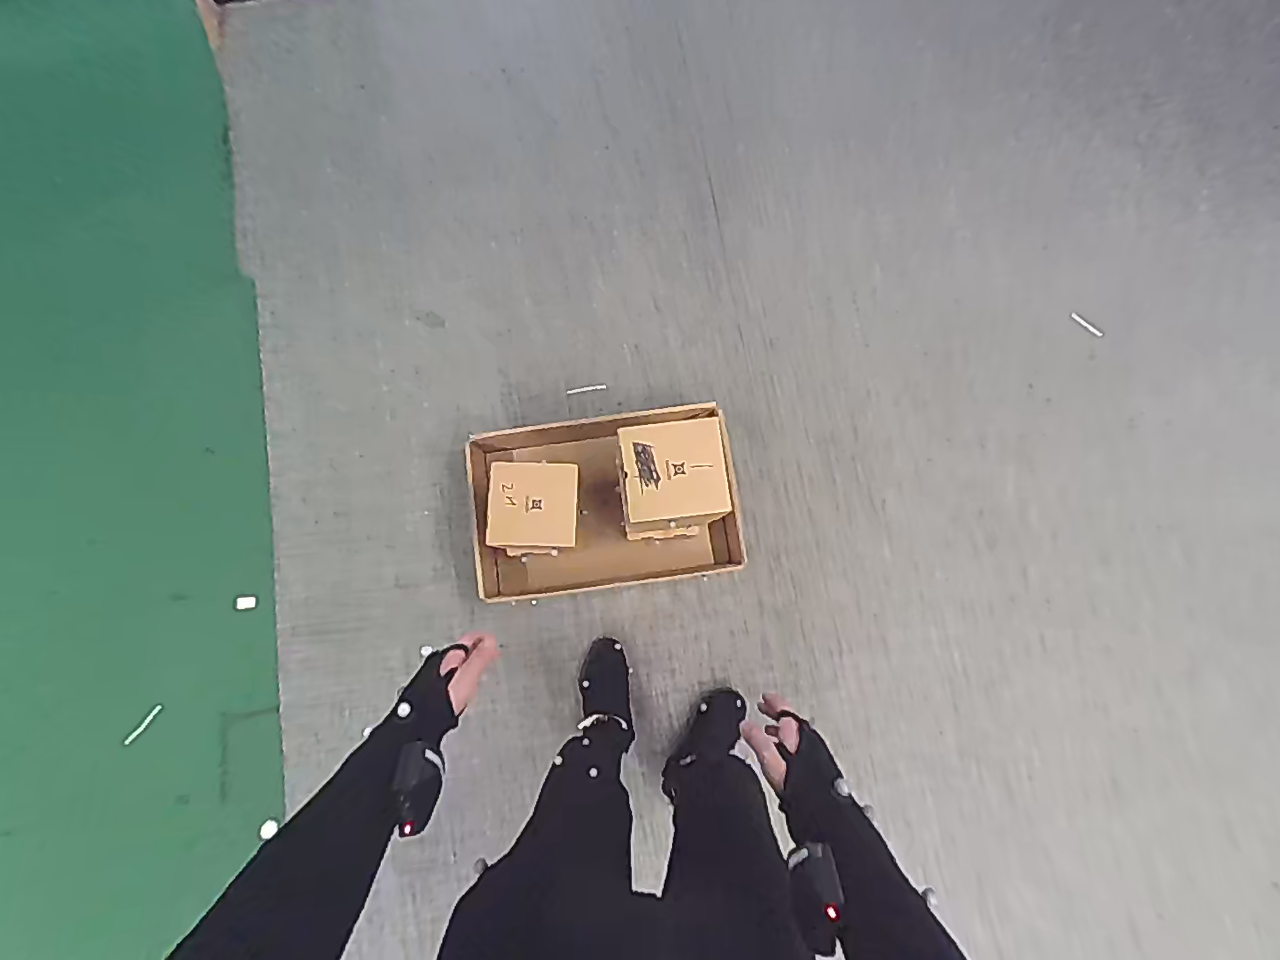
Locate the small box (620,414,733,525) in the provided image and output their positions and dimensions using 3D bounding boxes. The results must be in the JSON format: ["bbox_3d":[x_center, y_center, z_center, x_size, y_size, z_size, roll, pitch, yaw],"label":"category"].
[{"bbox_3d":[0.062,-0.012,0.987,0.179,0.176,0.168,-7,82,-1],"label":"small box"}]
